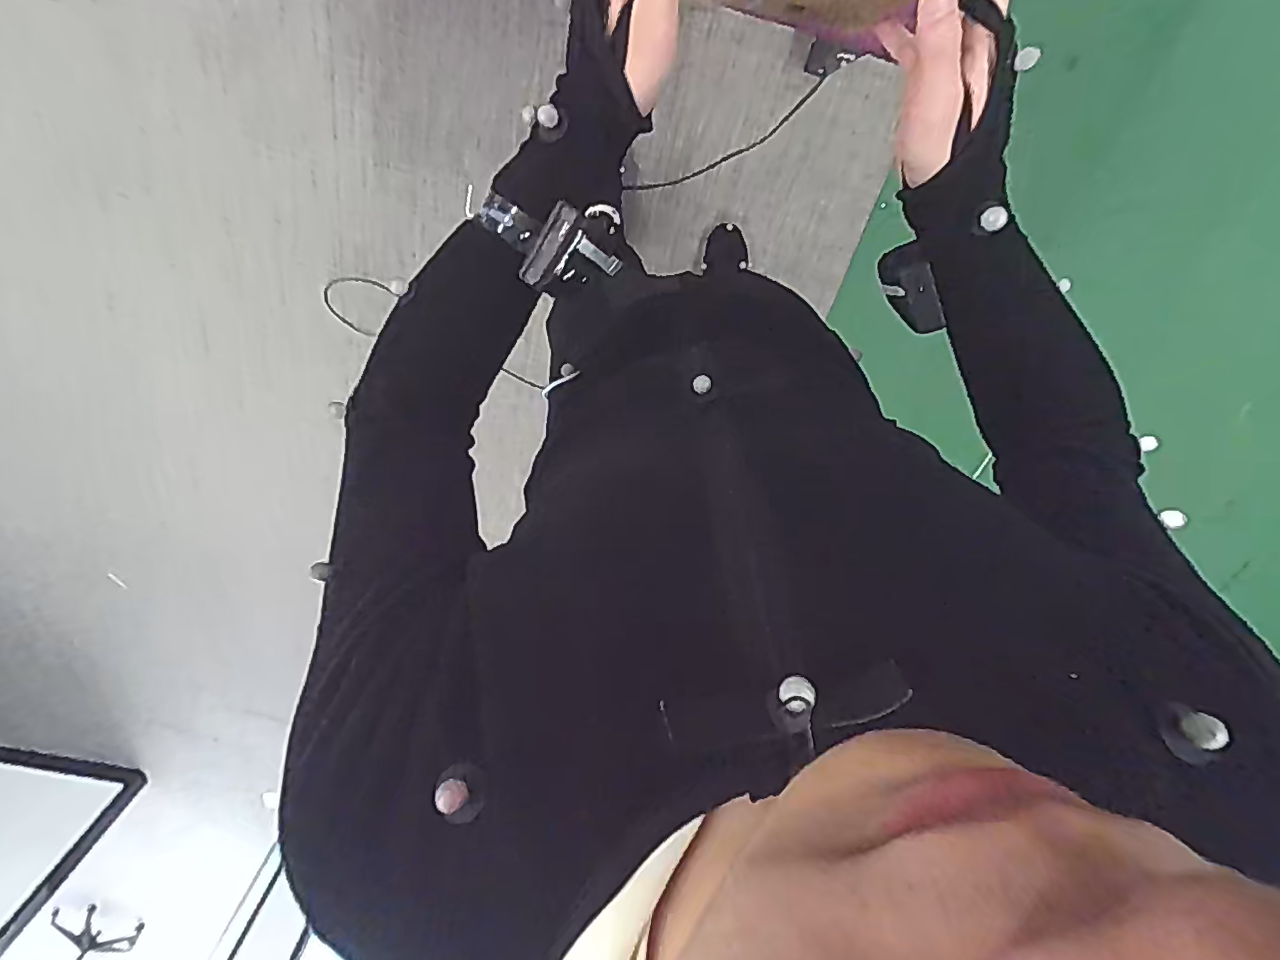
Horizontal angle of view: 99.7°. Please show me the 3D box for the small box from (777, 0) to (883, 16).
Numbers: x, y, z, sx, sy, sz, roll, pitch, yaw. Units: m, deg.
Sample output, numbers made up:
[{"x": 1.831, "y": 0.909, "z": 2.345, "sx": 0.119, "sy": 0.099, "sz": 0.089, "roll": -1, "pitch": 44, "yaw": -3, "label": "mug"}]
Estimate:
[{"x": 0.108, "y": -0.401, "z": 0.300, "sx": 0.168, "sy": 0.176, "sz": 0.179, "roll": 8, "pitch": 121, "yaw": -6, "label": "small box"}]
